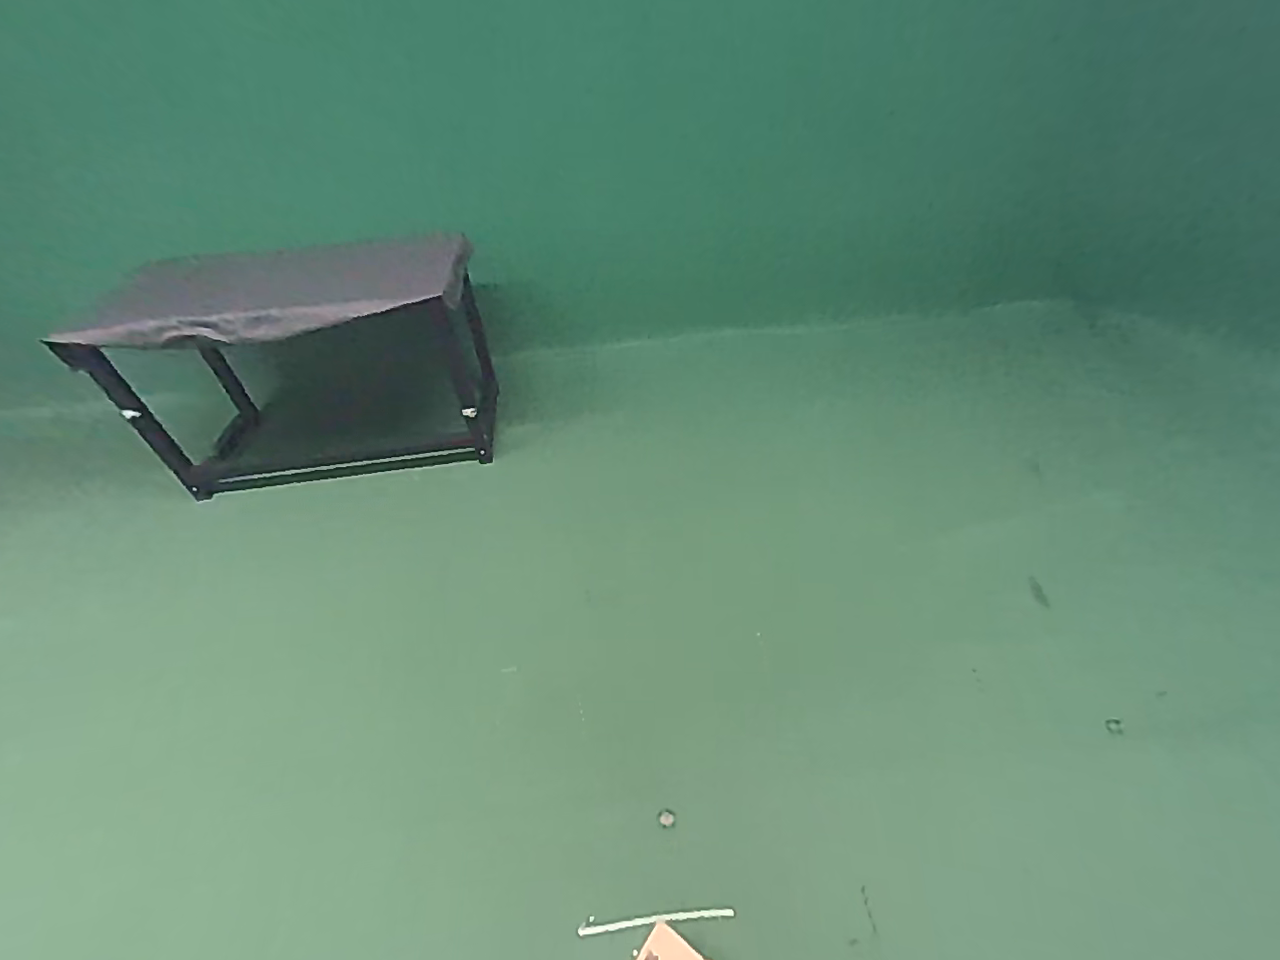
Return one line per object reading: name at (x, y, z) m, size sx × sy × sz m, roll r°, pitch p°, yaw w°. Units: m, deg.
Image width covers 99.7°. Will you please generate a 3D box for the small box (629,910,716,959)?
small box at (0.060, 0.905, 0.940) m, size 0.179 × 0.176 × 0.168 m, roll 26°, pitch 50°, yaw 29°
